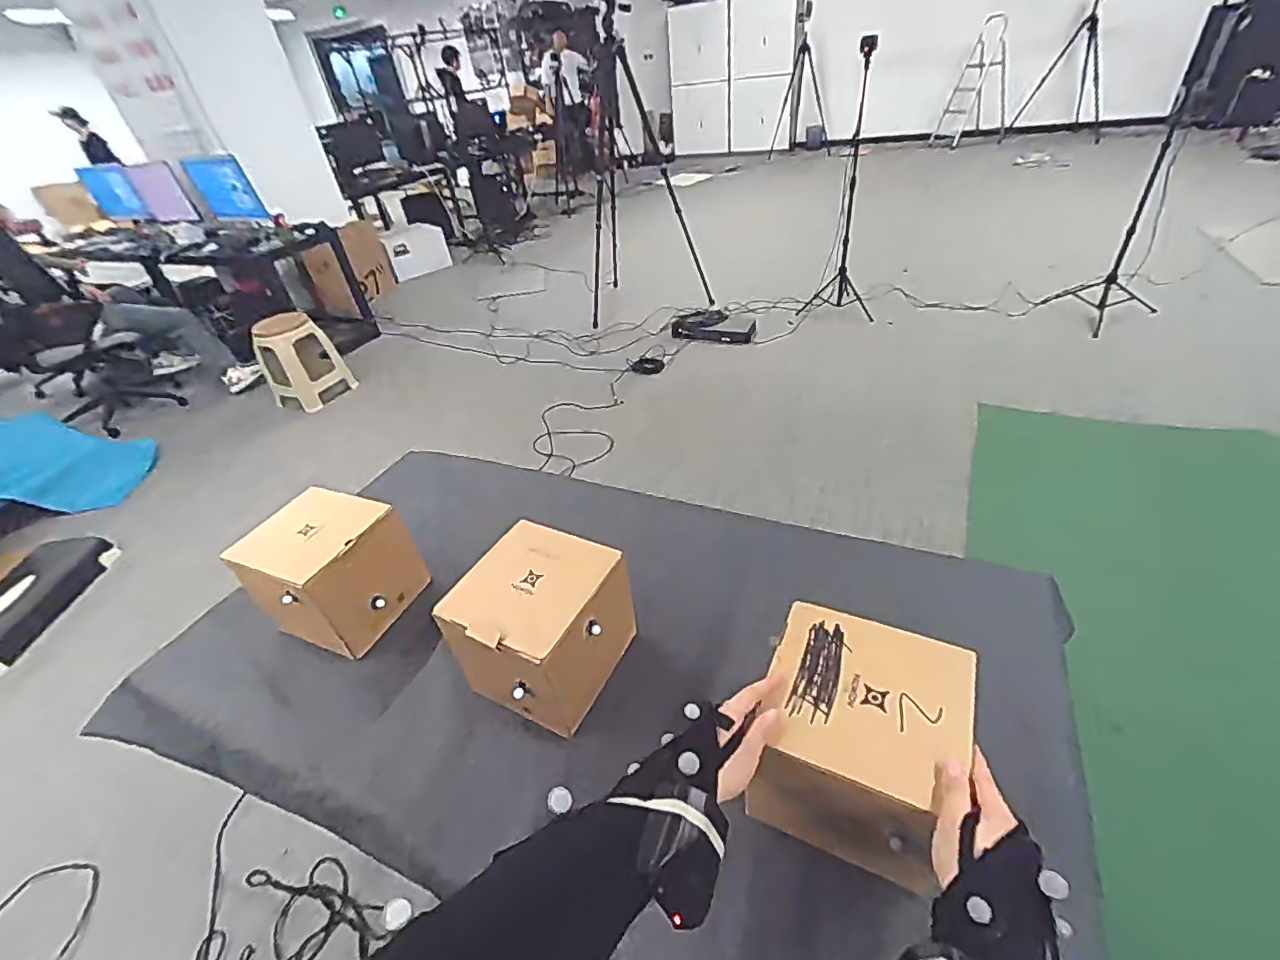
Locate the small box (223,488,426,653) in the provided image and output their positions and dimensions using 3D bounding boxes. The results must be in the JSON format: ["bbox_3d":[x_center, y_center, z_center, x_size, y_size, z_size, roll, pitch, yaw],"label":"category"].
[{"bbox_3d":[-0.467,0.137,0.826,0.179,0.176,0.168,10,41,21],"label":"small box"}]

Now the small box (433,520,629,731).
[{"bbox_3d":[-0.125,0.186,0.701,0.168,0.176,0.179,15,42,25],"label":"small box"}]
